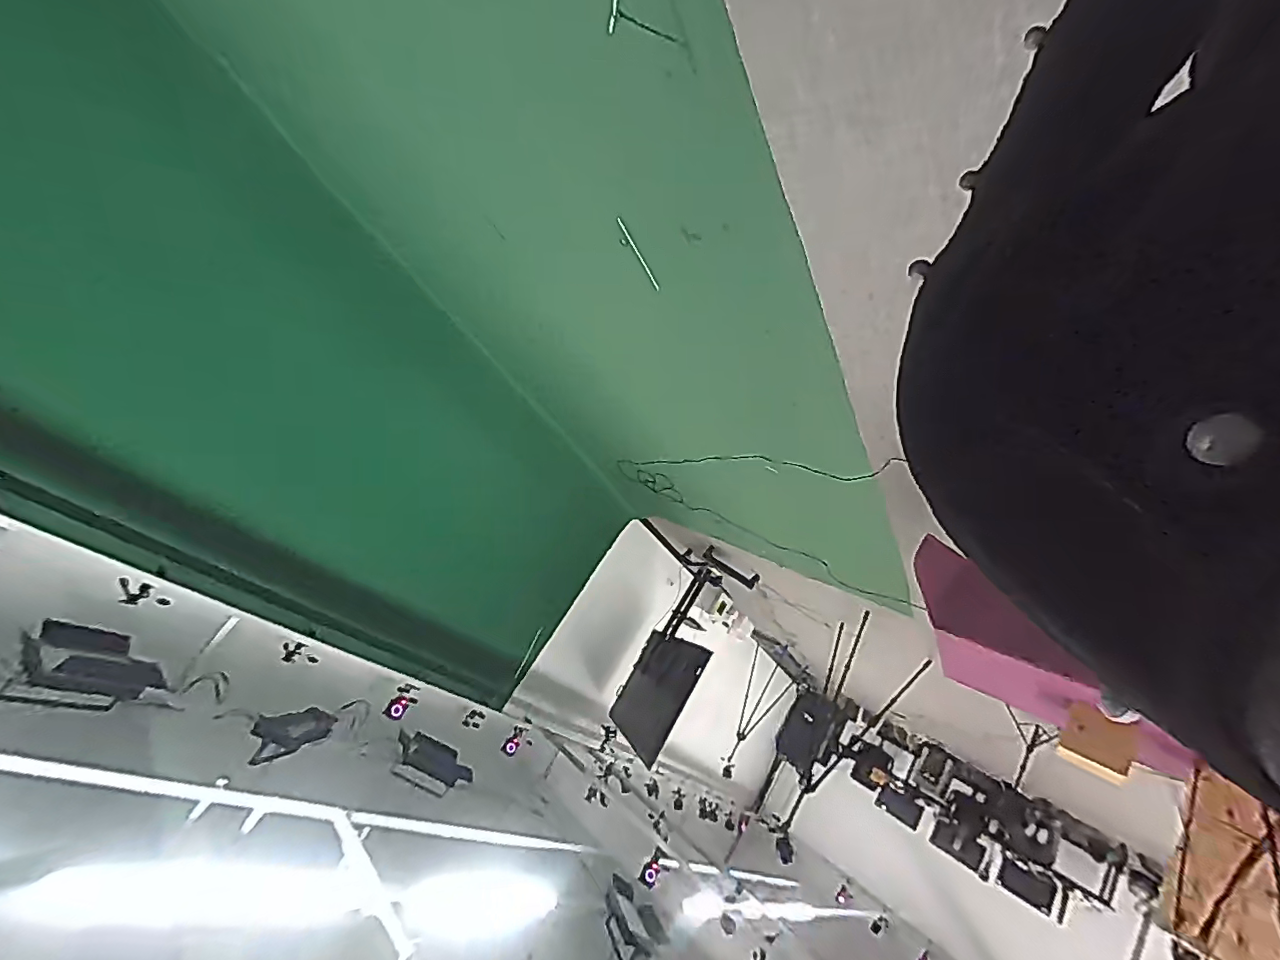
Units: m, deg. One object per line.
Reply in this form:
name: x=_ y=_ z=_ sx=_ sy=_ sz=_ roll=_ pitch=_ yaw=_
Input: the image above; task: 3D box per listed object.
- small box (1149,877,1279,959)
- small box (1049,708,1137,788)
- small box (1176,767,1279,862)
small box: x=1.560 y=1.233 z=1.473 sx=0.179 sy=0.176 sz=0.168 roll=27 pitch=163 yaw=24
small box: x=1.480 y=0.870 z=1.772 sx=0.179 sy=0.176 sz=0.168 roll=20 pitch=159 yaw=40
small box: x=1.723 y=0.961 z=1.563 sx=0.179 sy=0.176 sz=0.168 roll=25 pitch=161 yaw=31
